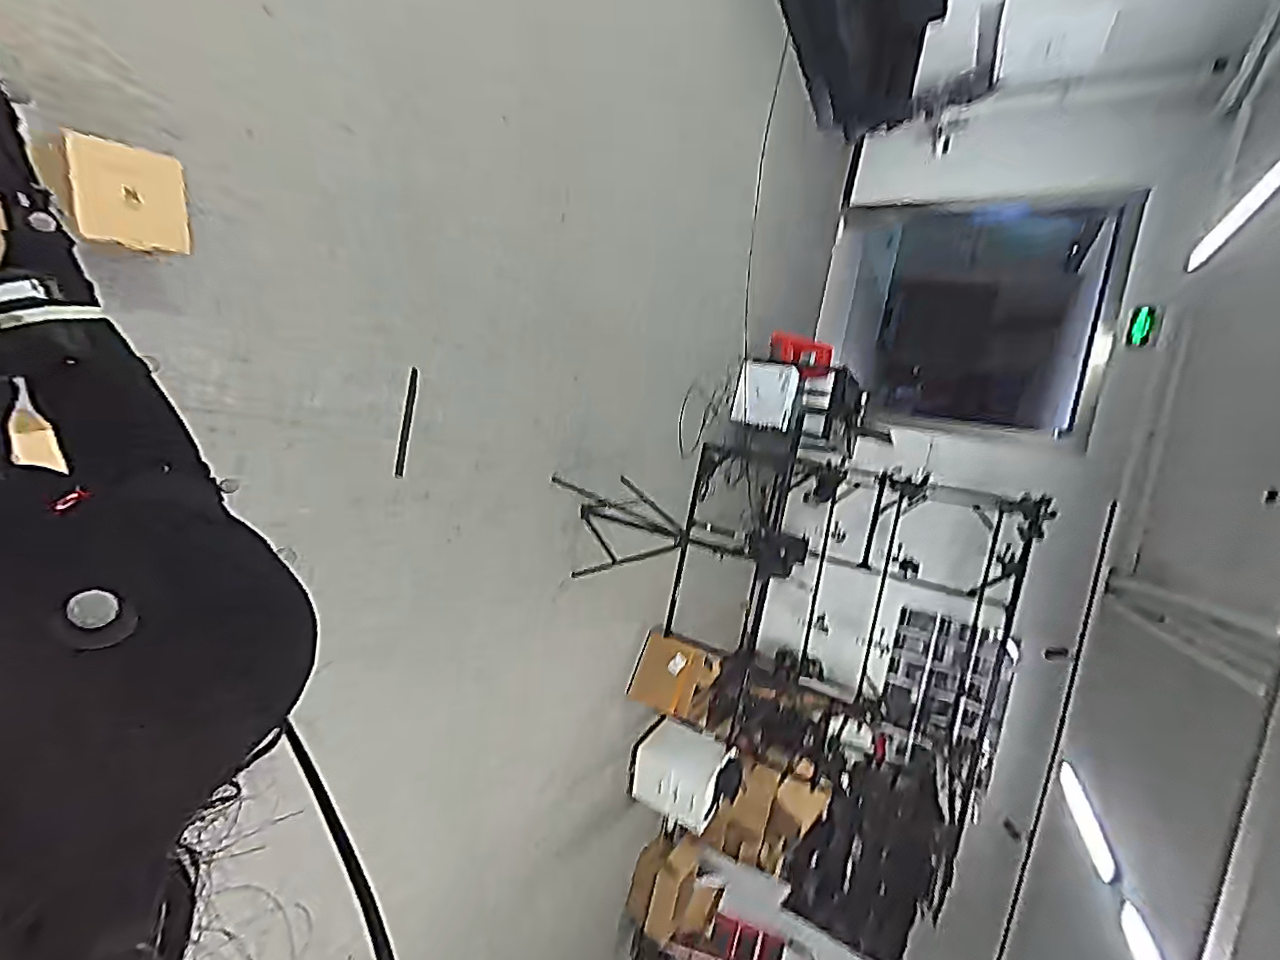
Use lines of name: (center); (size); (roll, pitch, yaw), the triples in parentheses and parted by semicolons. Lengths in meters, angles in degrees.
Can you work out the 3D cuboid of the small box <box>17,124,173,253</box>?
small box: (-1.036, -0.542, 1.032); (0.168, 0.176, 0.179); (-18, 116, -59)
